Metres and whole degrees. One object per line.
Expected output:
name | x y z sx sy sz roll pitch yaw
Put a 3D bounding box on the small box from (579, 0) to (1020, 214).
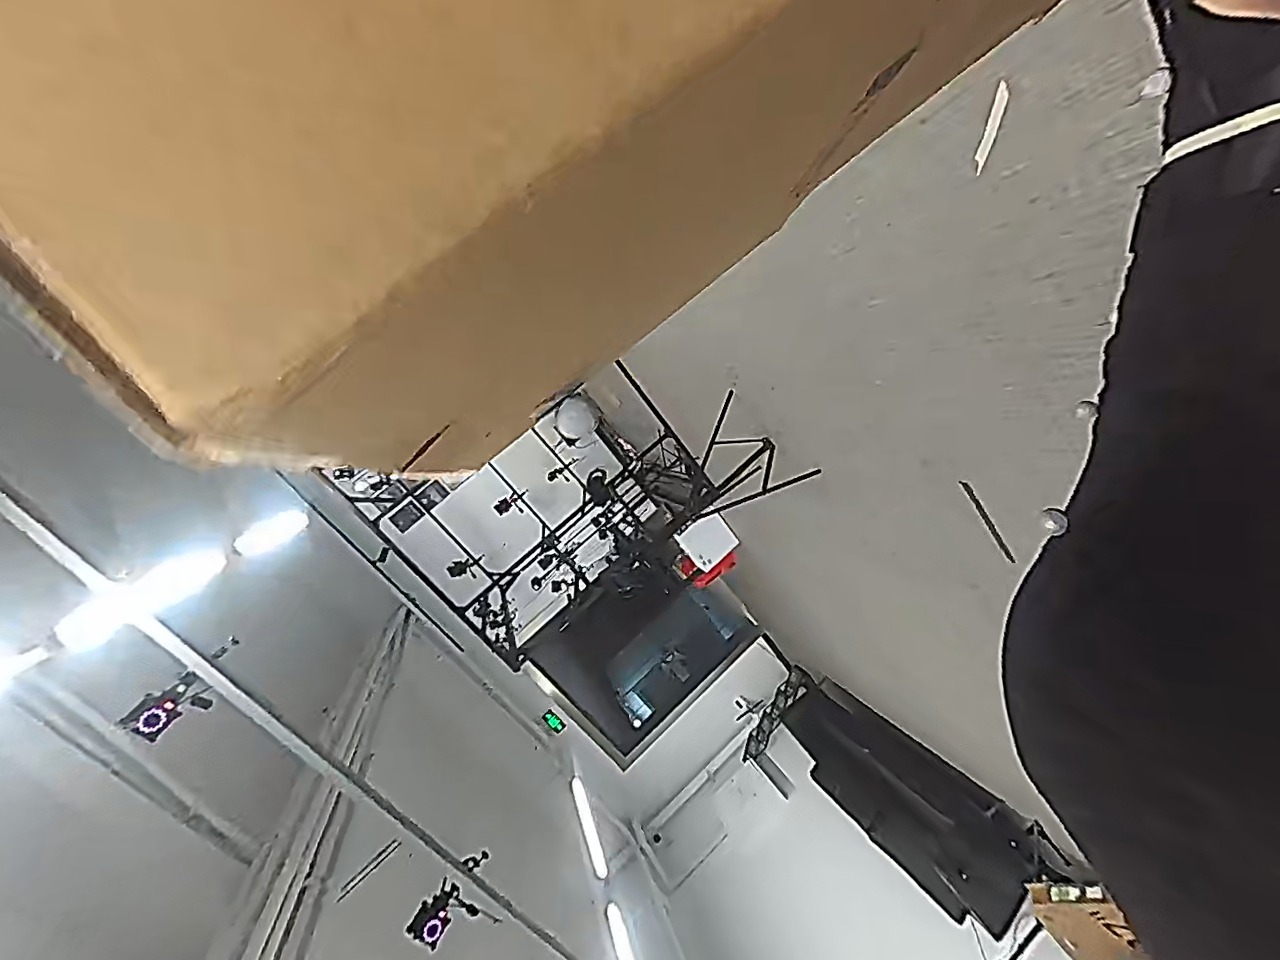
small box | 0.067 -0.229 0.152 0.179 0.176 0.168 49 174 -4
